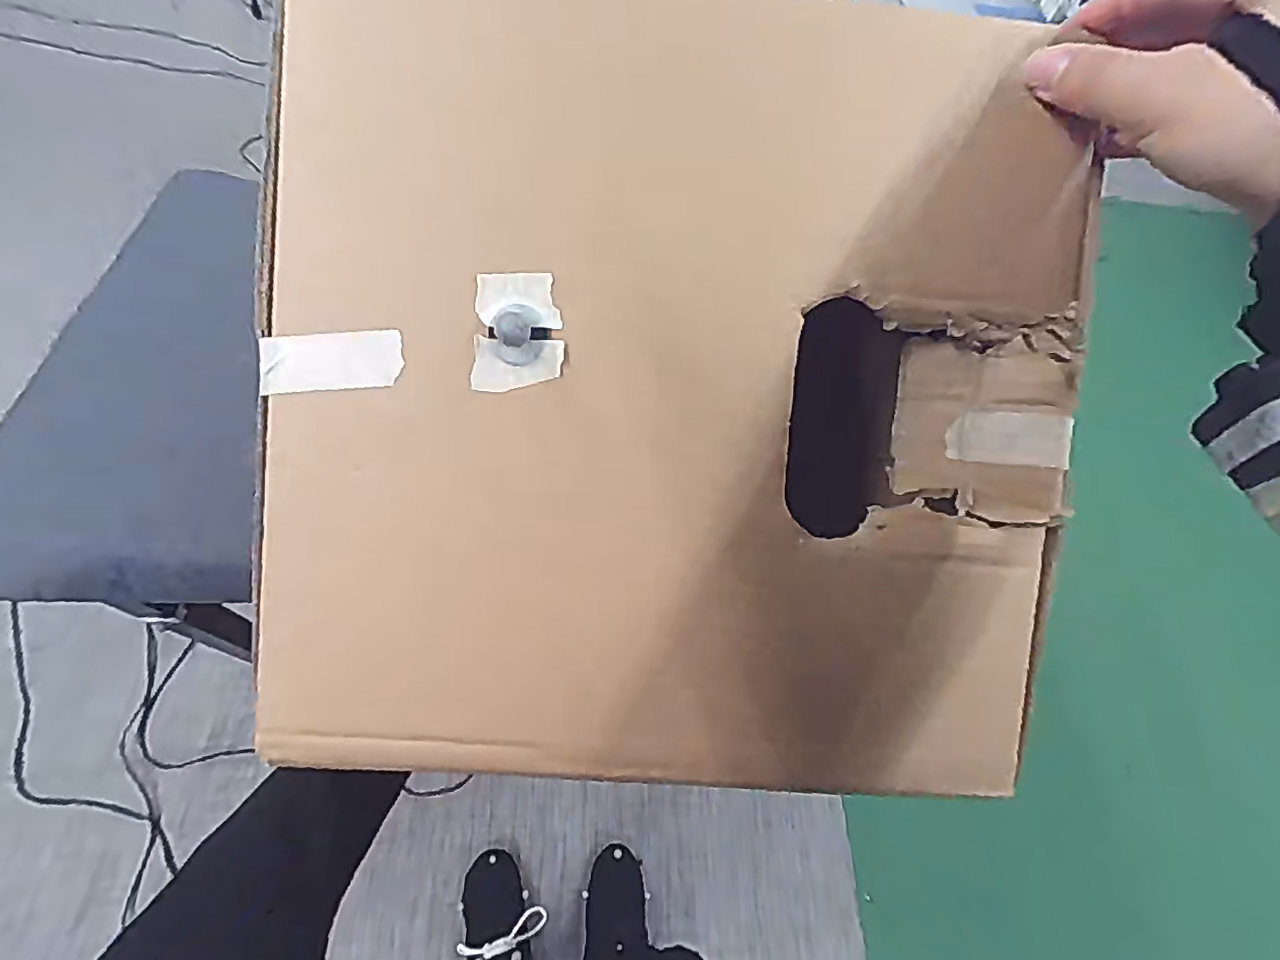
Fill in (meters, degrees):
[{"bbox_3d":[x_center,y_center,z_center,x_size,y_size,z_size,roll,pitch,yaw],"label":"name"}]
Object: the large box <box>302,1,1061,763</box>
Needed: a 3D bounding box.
[{"bbox_3d":[0.004,-0.043,0.417,0.320,0.408,0.320,4,93,-4],"label":"large box"}]
